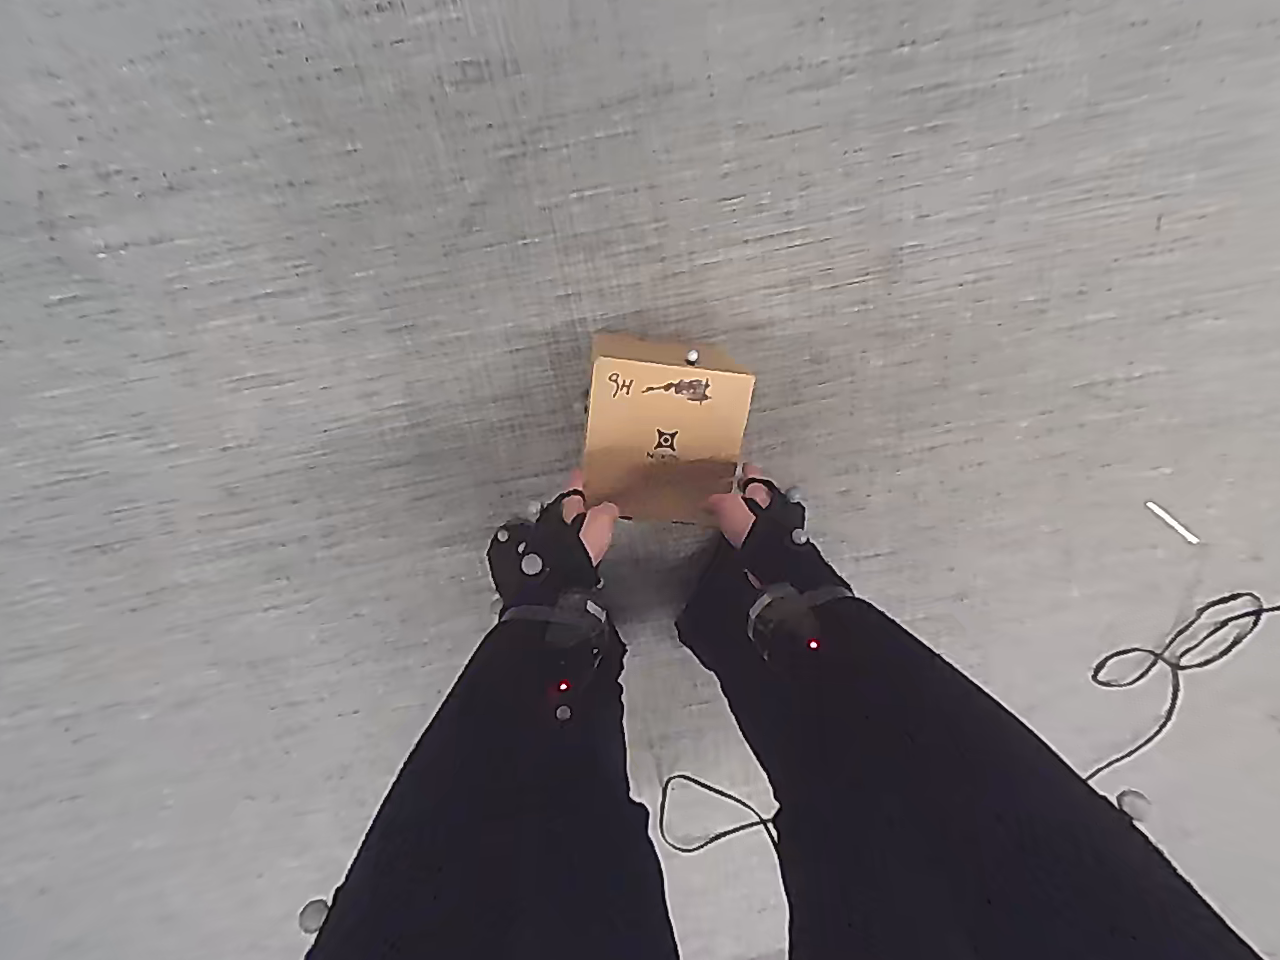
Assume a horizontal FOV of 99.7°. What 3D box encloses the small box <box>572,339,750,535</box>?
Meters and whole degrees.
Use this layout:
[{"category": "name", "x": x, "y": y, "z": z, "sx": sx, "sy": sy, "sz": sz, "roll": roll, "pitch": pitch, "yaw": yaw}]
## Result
[{"category": "small box", "x": 0.014, "y": -0.056, "z": 0.631, "sx": 0.168, "sy": 0.176, "sz": 0.179, "roll": 5, "pitch": 112, "yaw": -7}]
